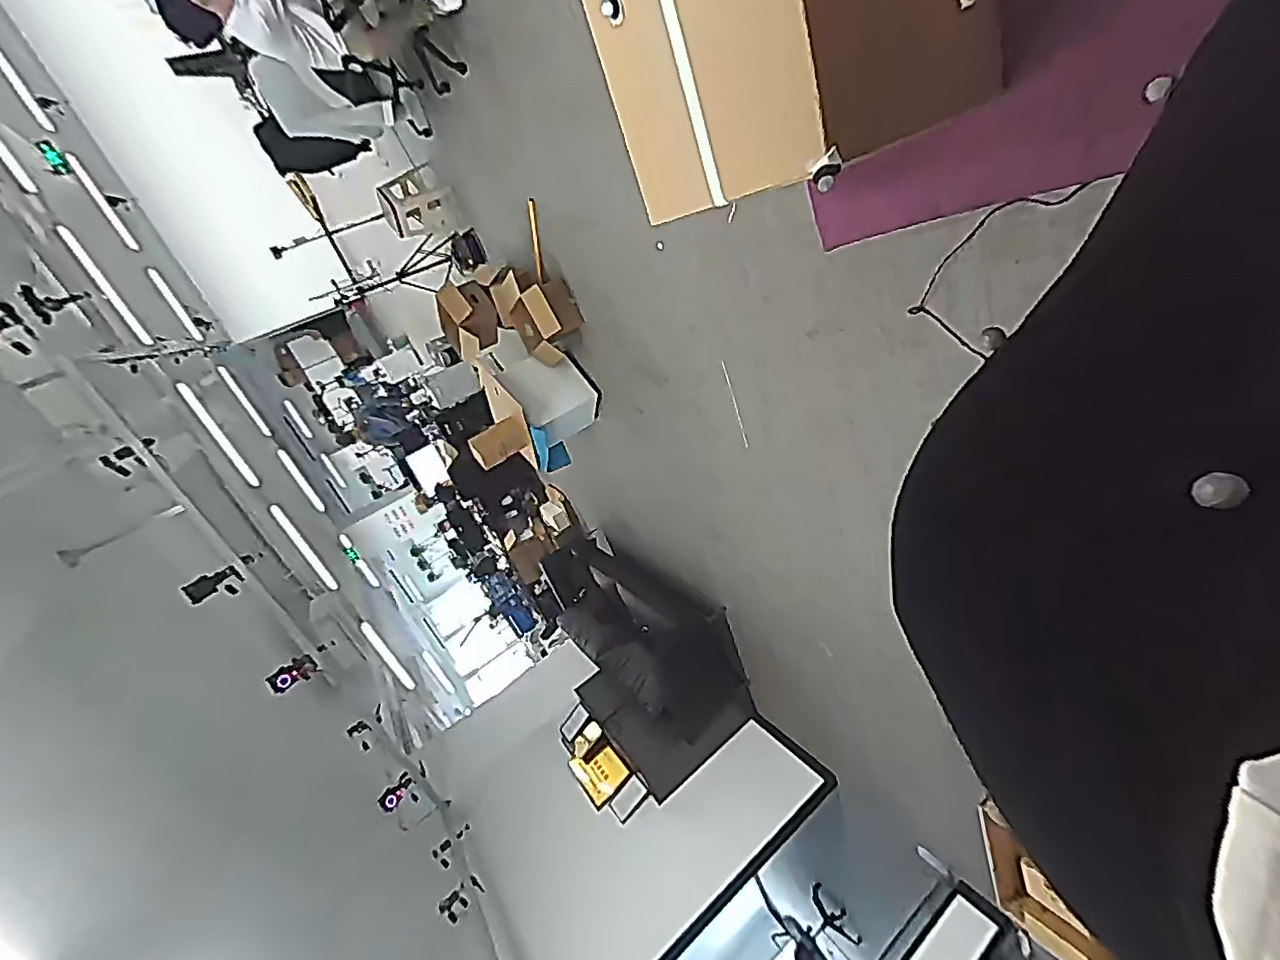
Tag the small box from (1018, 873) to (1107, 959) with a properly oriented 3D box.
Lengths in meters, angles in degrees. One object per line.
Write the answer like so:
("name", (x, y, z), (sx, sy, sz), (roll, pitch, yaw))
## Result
("small box", (1.364, 1.428, 1.739), (0.179, 0.176, 0.168), (15, 134, 60))
